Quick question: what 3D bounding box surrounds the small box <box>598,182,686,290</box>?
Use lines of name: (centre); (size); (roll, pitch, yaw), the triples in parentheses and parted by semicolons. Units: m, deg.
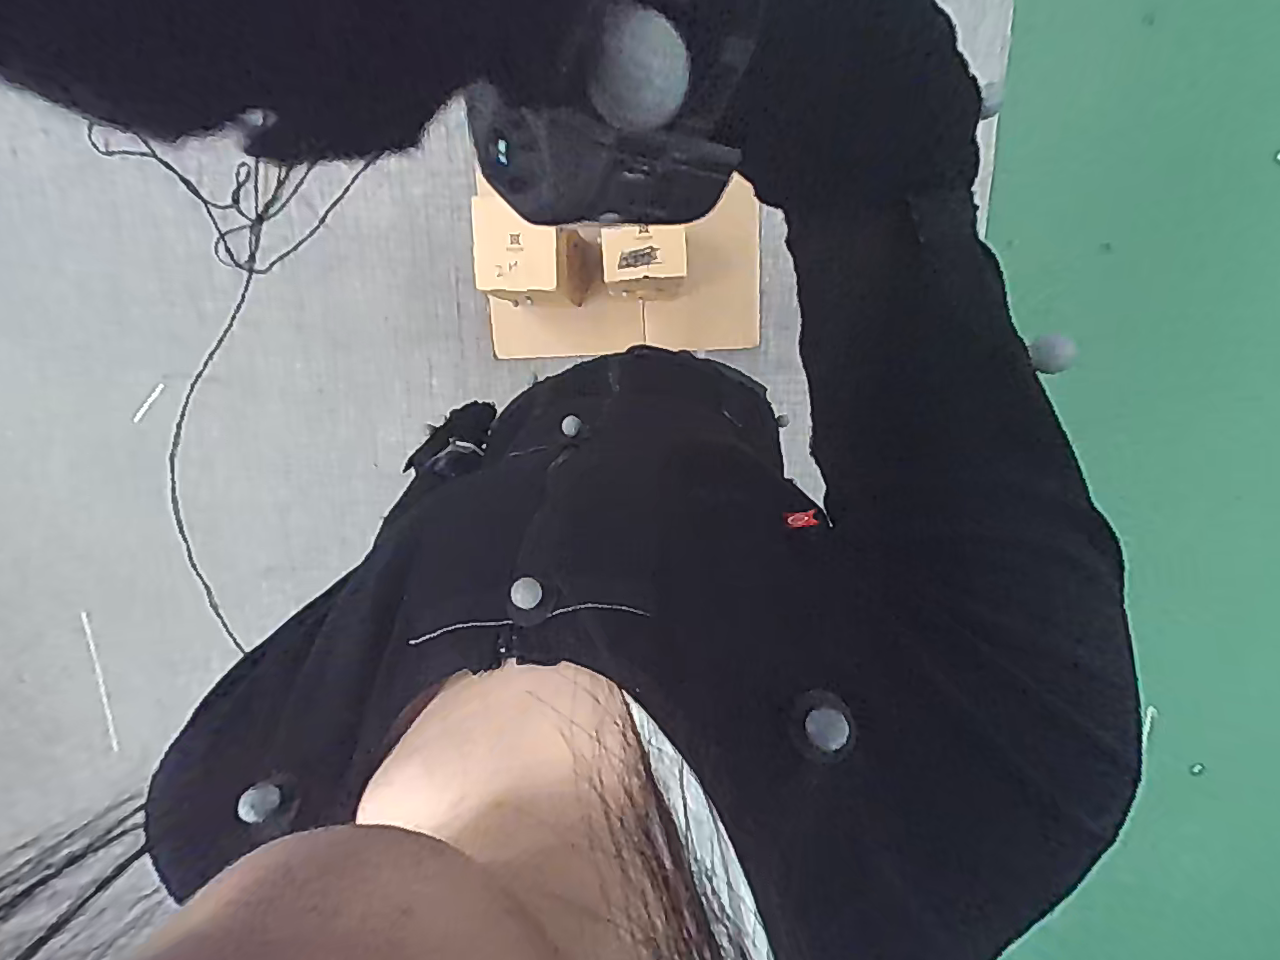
small box: (0.008, -0.496, 1.125); (0.168, 0.176, 0.179); (-4, 102, 2)

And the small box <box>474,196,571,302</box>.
small box: (-0.239, -0.476, 1.134); (0.168, 0.176, 0.179); (1, 102, 3)

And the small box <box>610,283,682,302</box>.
small box: (0.010, -0.528, 1.286); (0.168, 0.176, 0.179); (-3, 103, 2)
